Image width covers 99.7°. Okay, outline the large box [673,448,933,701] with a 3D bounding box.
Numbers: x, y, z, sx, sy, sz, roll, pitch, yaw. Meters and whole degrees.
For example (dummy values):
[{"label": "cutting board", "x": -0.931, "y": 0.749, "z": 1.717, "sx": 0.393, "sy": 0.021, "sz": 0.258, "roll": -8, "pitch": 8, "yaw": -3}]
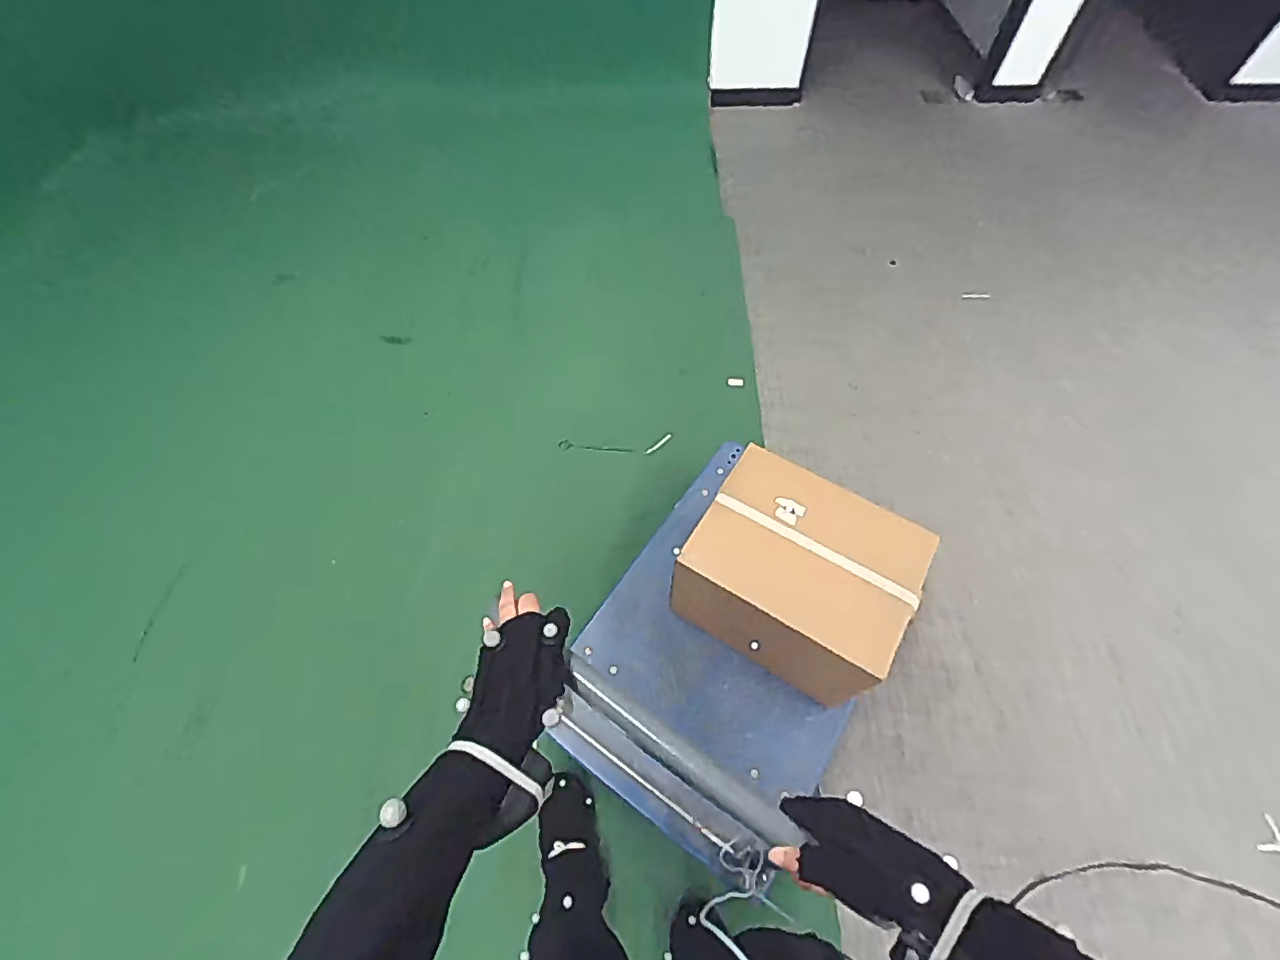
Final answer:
[{"label": "large box", "x": 0.316, "y": 0.205, "z": 1.142, "sx": 0.408, "sy": 0.320, "sz": 0.320, "roll": 28, "pitch": 63, "yaw": 18}]
